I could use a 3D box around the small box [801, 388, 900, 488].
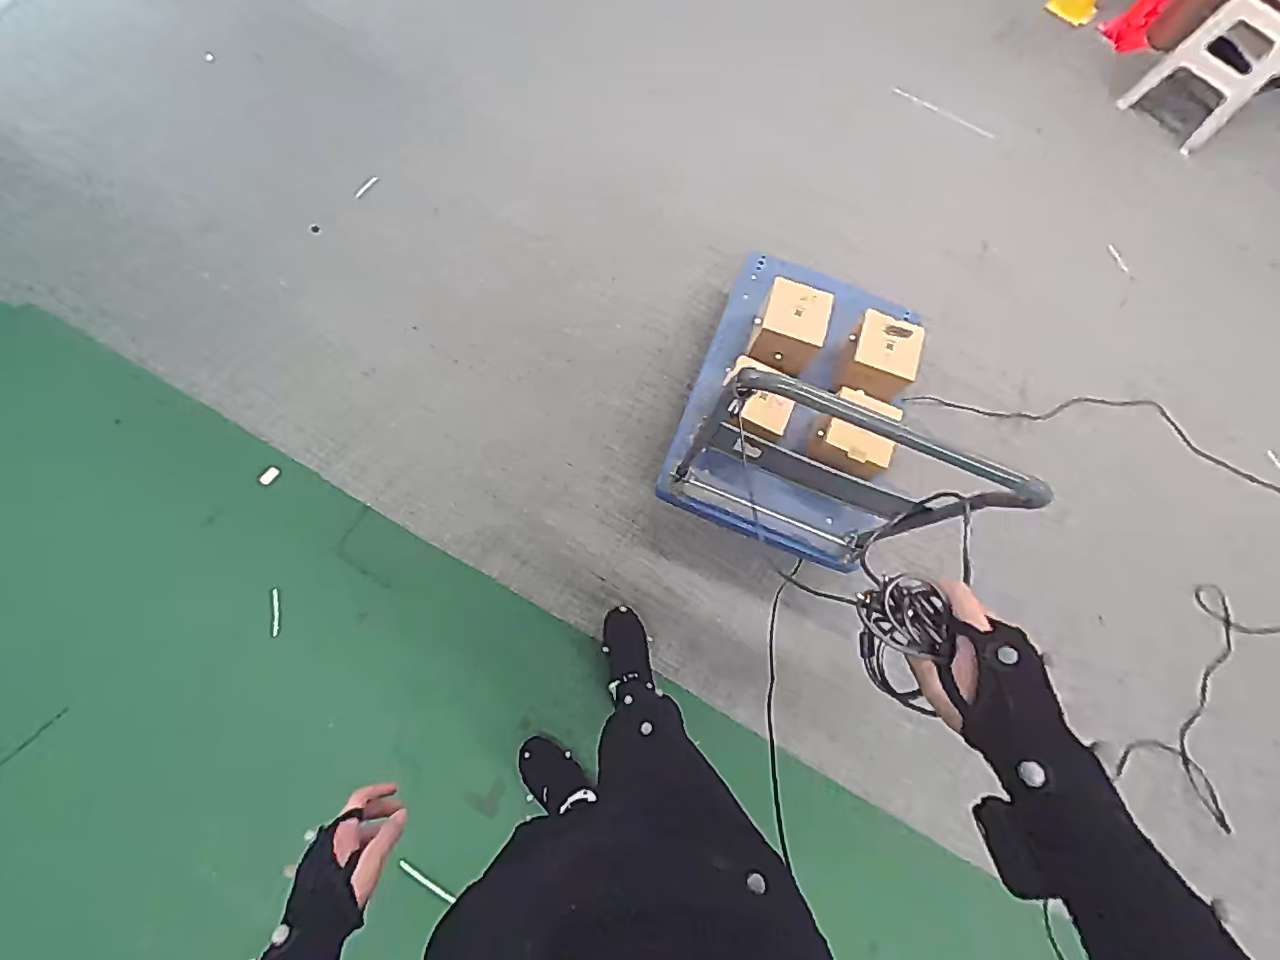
[{"bbox_3d":[0.545,-0.105,1.418,0.168,0.176,0.179,23,72,2],"label":"small box"}]

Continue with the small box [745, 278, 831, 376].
[{"bbox_3d":[0.404,-0.418,1.505,0.168,0.176,0.179,19,71,-1],"label":"small box"}]

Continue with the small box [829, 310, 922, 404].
[{"bbox_3d":[0.647,-0.331,1.501,0.168,0.176,0.179,20,71,2],"label":"small box"}]
